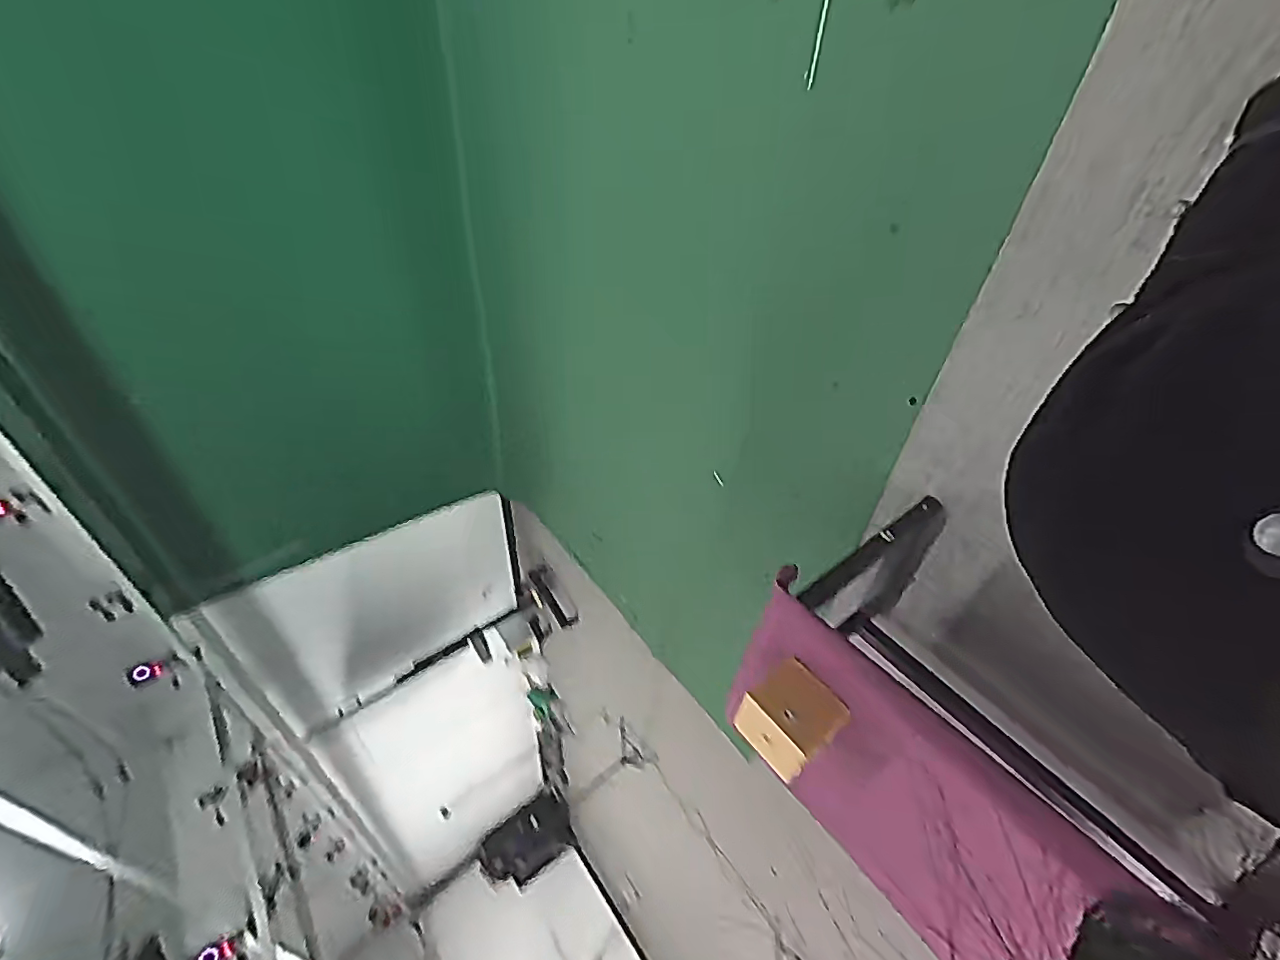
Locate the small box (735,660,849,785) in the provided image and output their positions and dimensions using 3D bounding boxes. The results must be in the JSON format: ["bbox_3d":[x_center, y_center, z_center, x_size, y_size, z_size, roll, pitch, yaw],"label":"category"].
[{"bbox_3d":[0.355,0.562,1.266,0.179,0.176,0.168,42,143,33],"label":"small box"}]
